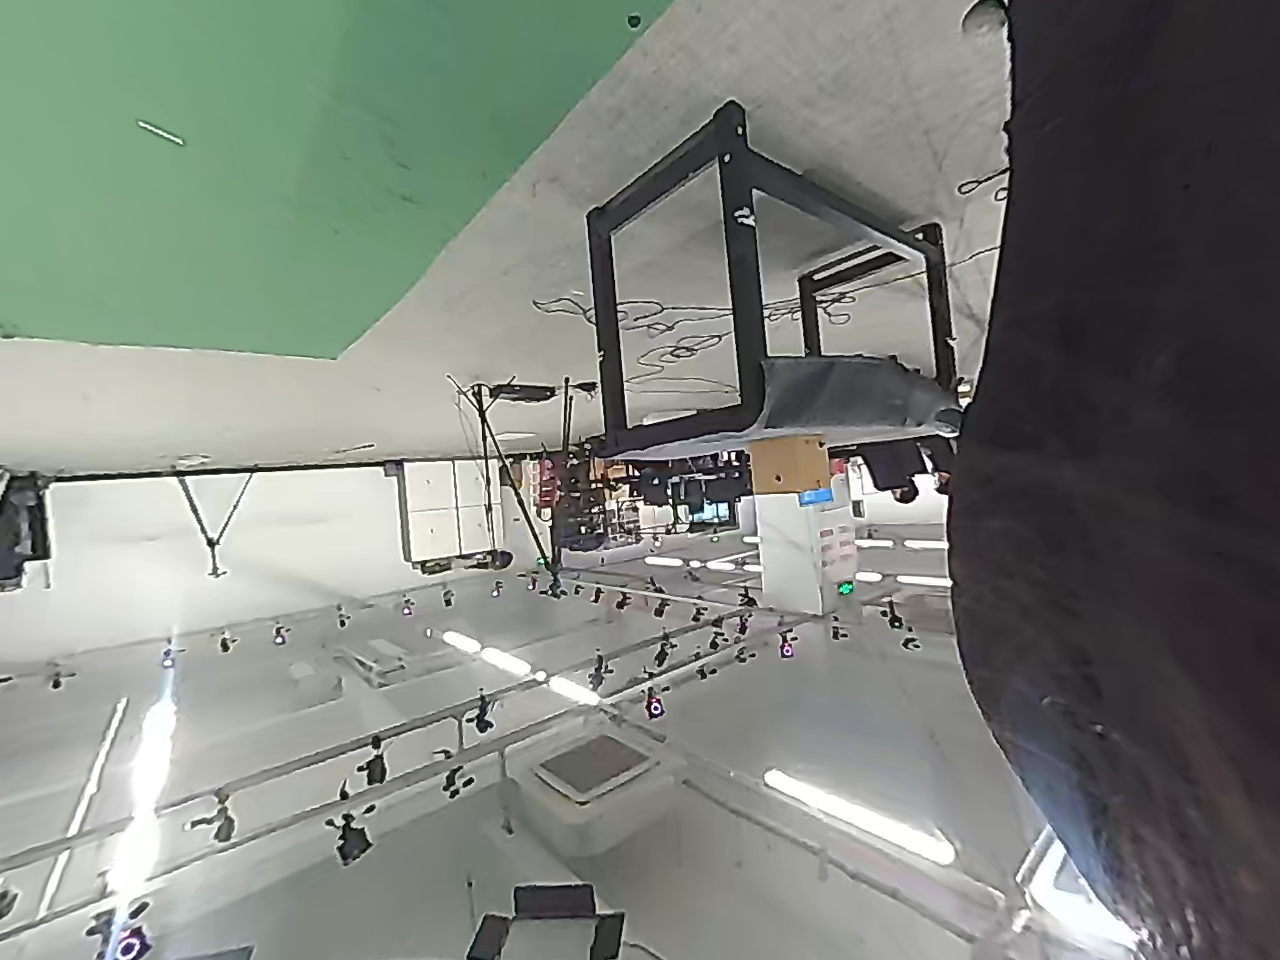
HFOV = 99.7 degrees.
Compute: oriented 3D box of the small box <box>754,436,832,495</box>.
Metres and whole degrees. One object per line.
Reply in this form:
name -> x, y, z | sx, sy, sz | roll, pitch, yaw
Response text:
small box -> 0.473, -0.048, 1.683 | 0.168, 0.176, 0.179 | -4, -179, -39
